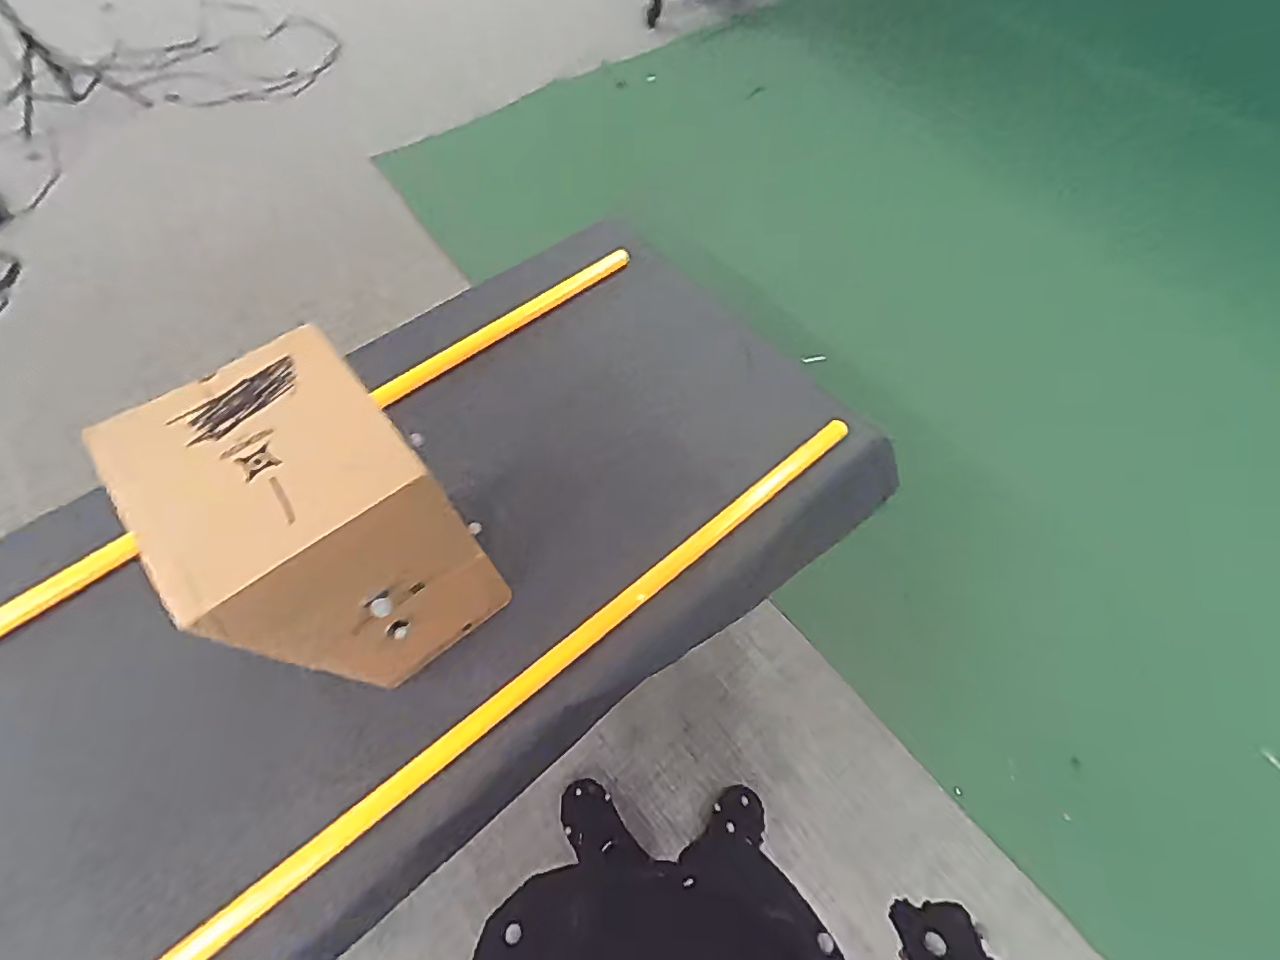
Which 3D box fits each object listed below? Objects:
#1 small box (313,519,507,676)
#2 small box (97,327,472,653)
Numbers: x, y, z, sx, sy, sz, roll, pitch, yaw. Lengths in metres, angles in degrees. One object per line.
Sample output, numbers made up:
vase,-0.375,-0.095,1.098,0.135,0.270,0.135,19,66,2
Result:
small box,-0.272,0.090,0.595,0.168,0.176,0.179,-37,69,-17
small box,-0.268,0.017,0.447,0.168,0.176,0.179,-37,70,-19
